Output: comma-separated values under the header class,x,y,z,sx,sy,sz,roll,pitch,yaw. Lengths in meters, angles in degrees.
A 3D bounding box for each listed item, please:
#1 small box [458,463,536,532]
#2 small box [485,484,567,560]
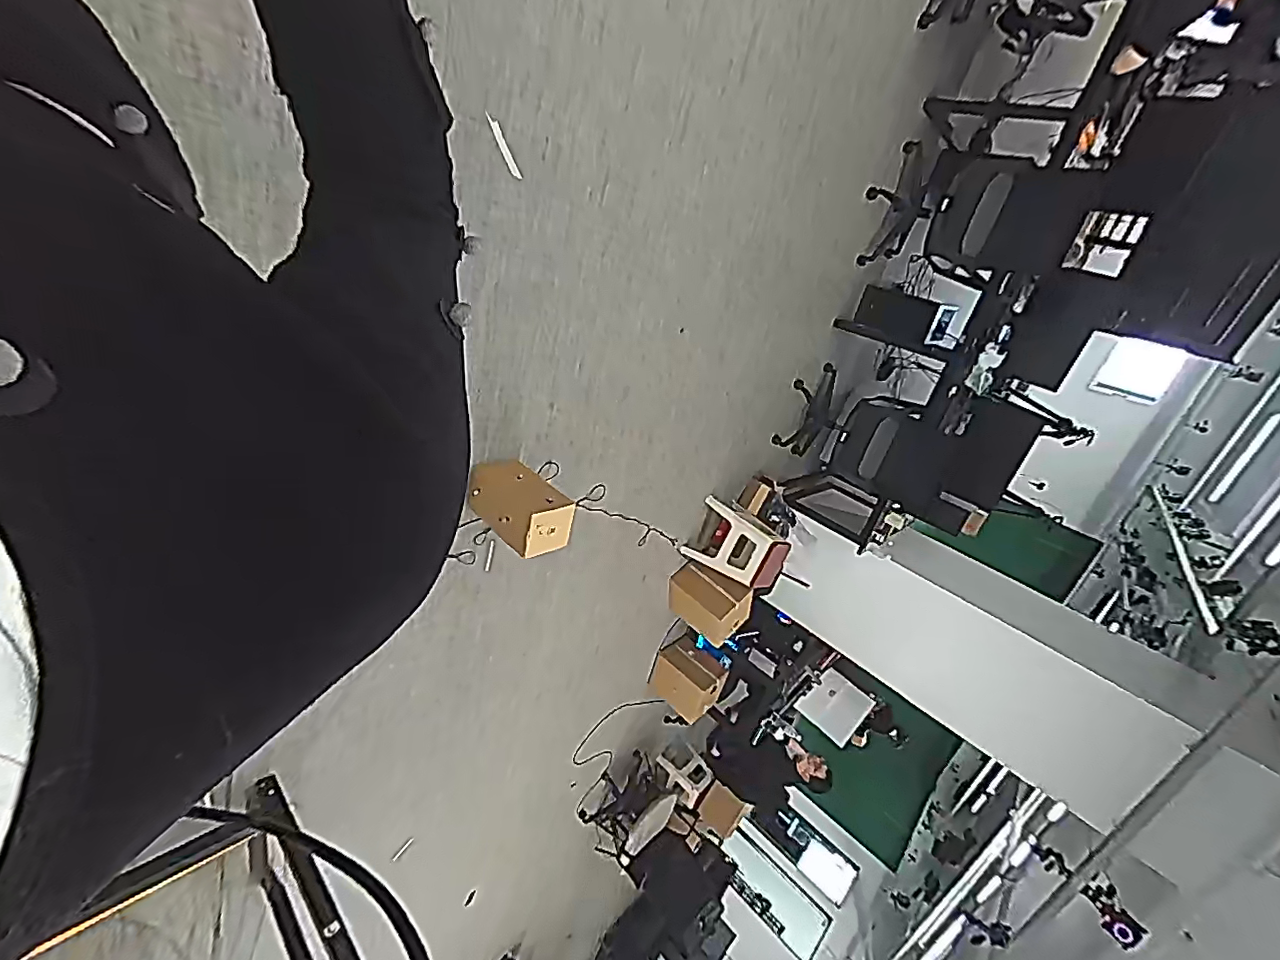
class,x,y,z,sx,sy,sz,roll,pitch,yaw
small box,-0.485,0.051,1.822,0.179,0.176,0.168,-10,124,-48
small box,-0.367,0.125,1.733,0.179,0.176,0.168,-12,126,-48
